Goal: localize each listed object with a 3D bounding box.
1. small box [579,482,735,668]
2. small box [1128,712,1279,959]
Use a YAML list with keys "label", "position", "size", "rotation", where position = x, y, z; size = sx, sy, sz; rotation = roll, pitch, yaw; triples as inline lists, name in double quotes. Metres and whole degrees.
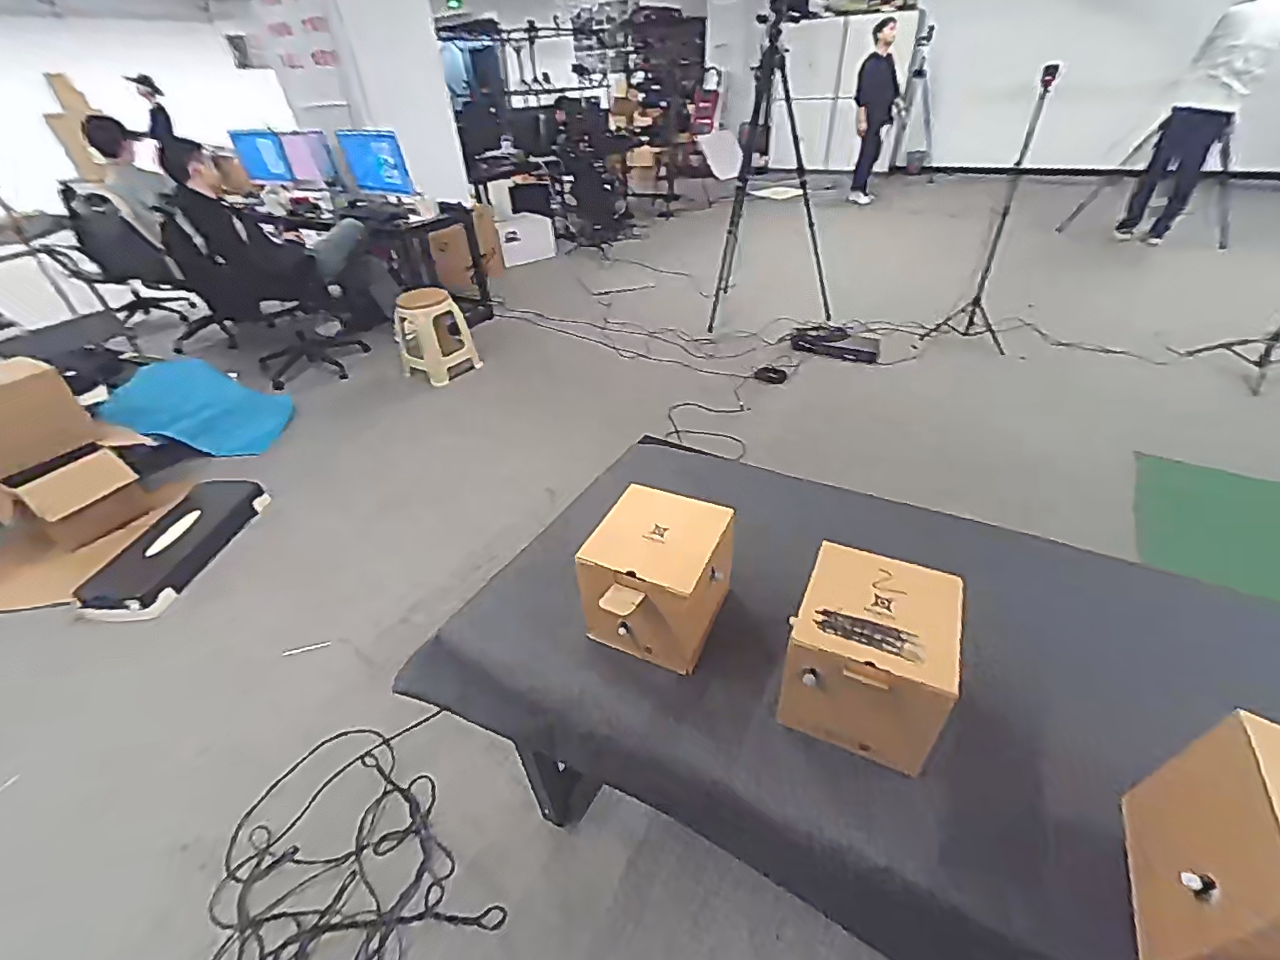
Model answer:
- label: "small box"
  position: [0.029, 0.134, 0.788]
  size: [0.168, 0.176, 0.179]
  rotation: [14, 41, 21]
- label: "small box"
  position: [0.521, 0.328, 0.408]
  size: [0.168, 0.176, 0.179]
  rotation: [24, 39, 22]
